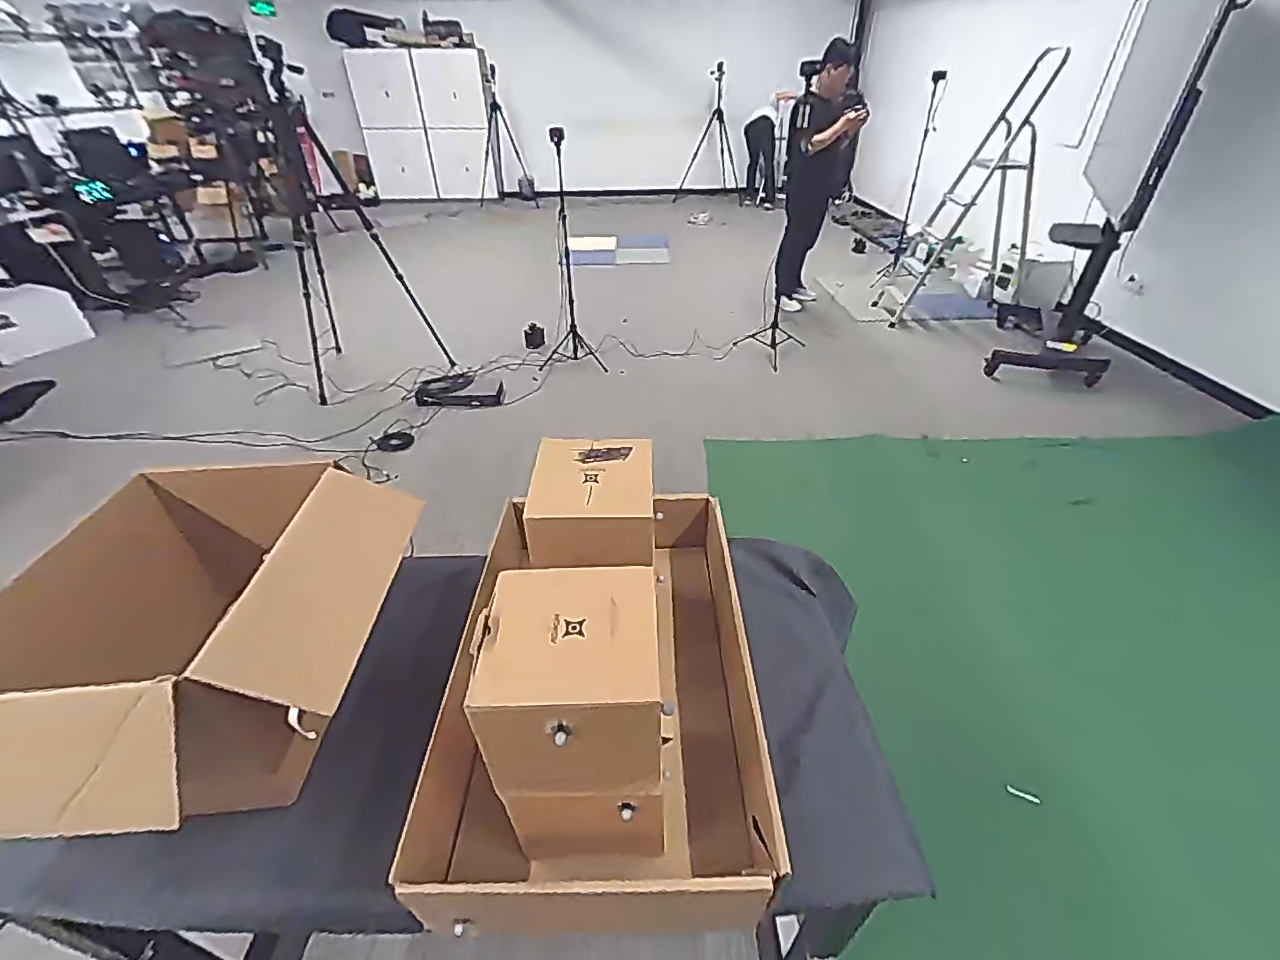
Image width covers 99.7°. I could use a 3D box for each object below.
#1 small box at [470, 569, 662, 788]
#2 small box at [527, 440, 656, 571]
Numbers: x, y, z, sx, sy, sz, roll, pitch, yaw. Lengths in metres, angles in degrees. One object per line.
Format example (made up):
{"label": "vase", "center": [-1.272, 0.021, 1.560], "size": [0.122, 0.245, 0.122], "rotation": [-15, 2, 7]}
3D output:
{"label": "small box", "center": [-0.066, 0.216, 0.591], "size": [0.179, 0.176, 0.168], "rotation": [-1, 38, -1]}
{"label": "small box", "center": [-0.062, 0.059, 0.792], "size": [0.168, 0.176, 0.179], "rotation": [0, 40, 1]}
